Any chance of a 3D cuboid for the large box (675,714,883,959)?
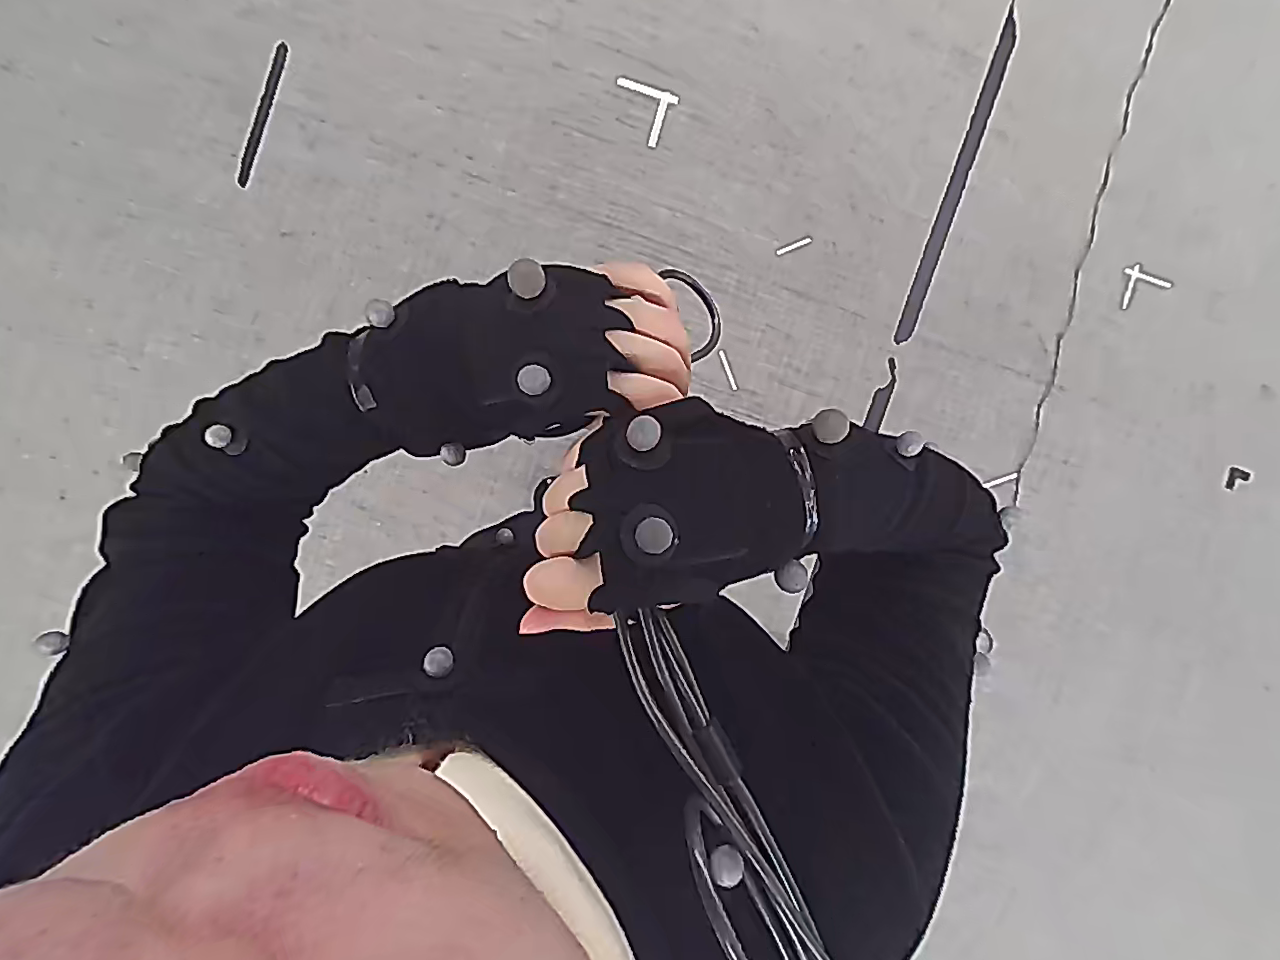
[{"bbox_3d":[0.284,0.805,1.212,0.320,0.320,0.408,13,91,-3],"label":"large box"}]
